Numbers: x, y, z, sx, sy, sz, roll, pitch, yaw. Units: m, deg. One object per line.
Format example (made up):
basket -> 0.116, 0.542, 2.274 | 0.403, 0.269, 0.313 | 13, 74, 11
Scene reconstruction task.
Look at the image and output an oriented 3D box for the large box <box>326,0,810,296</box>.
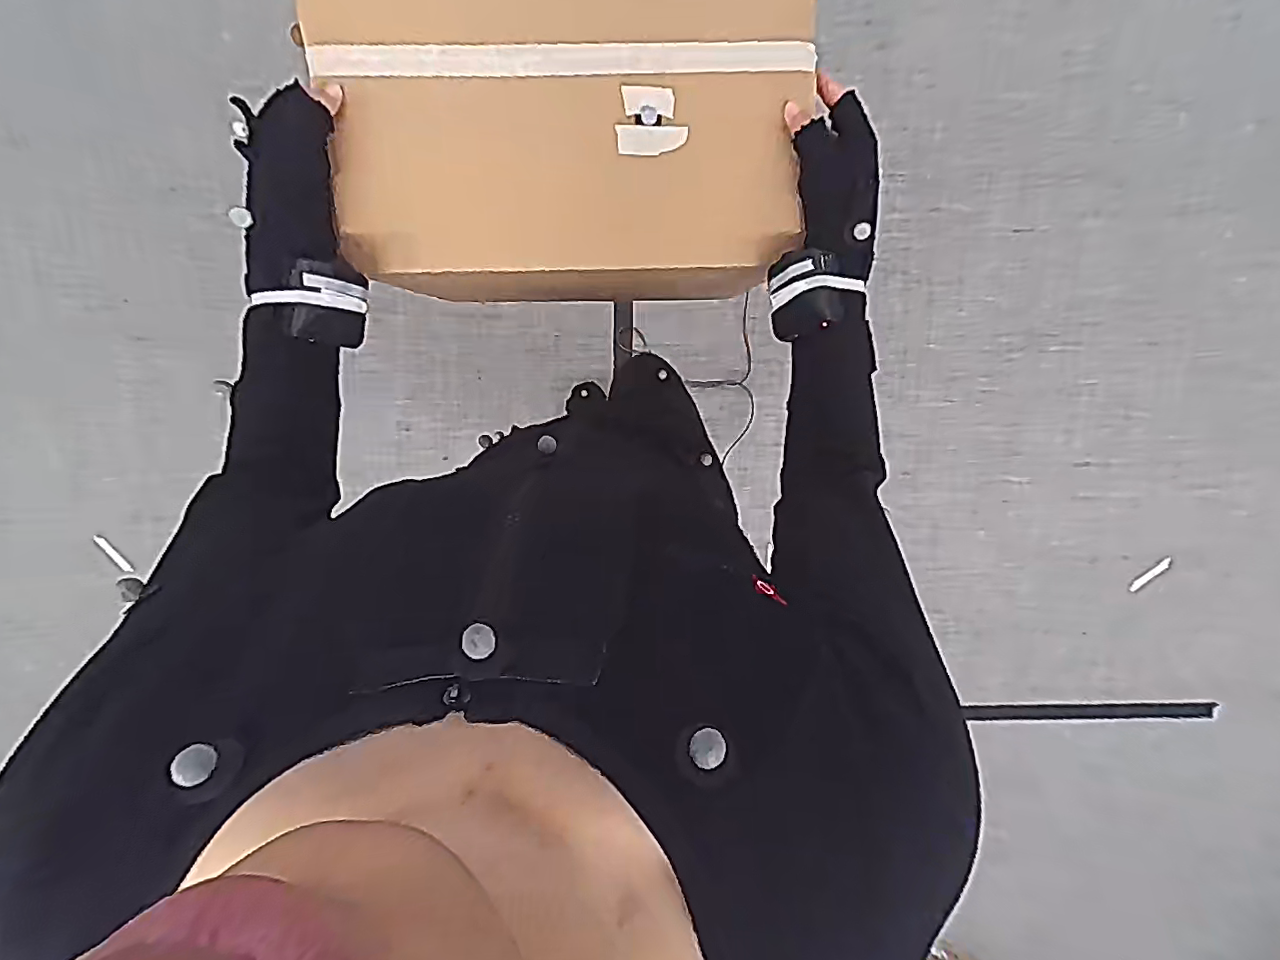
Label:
large box -> -0.063, -0.385, 0.597 | 0.408, 0.320, 0.320 | -2, 105, -3
